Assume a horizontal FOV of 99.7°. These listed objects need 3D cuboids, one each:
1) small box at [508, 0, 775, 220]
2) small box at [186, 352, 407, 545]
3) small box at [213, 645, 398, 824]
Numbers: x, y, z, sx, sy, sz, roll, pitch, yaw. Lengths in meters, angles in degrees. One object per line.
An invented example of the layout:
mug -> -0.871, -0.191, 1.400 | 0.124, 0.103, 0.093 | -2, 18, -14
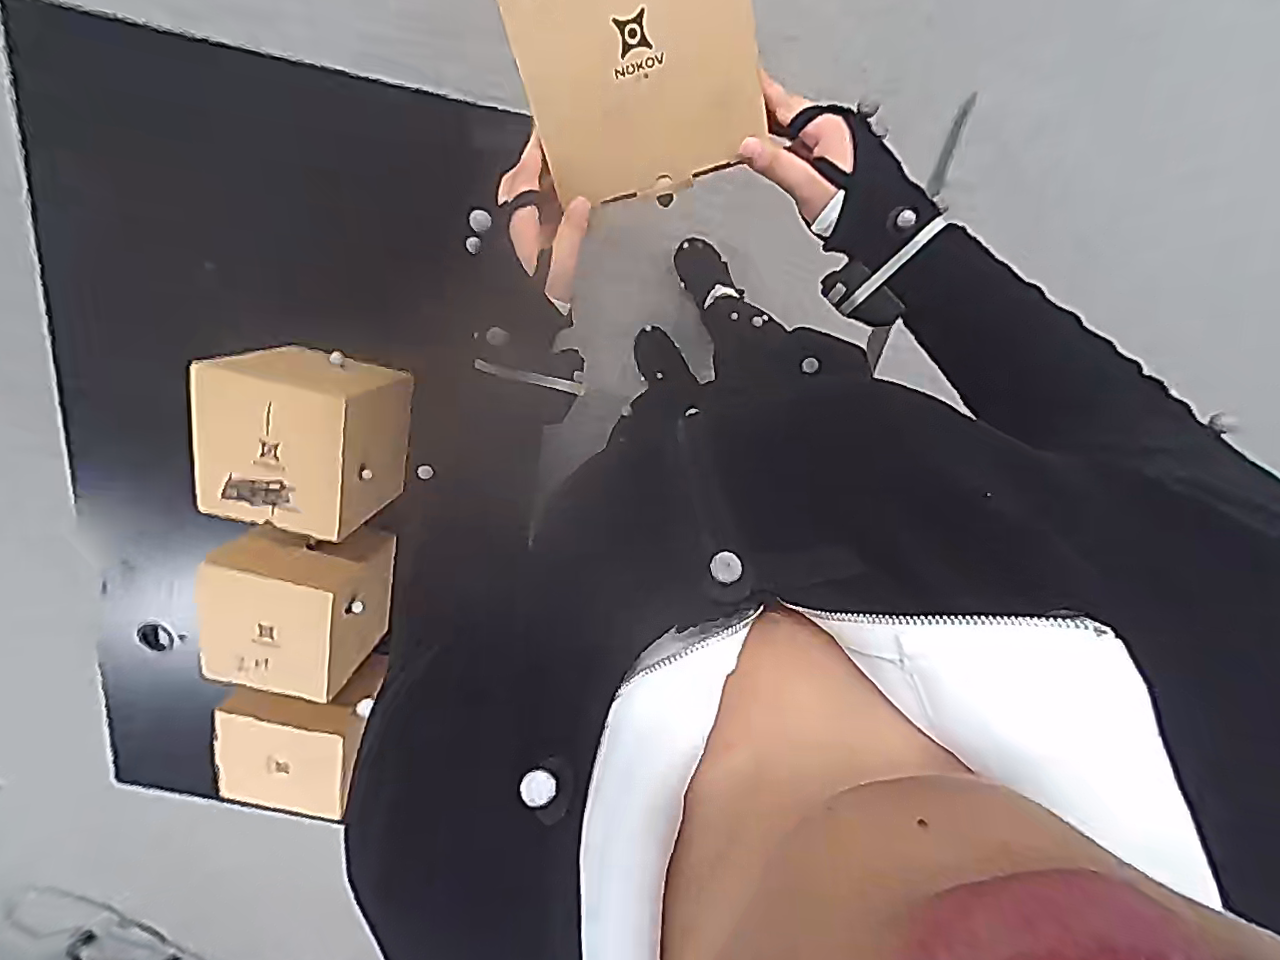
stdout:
small box -> 0.006, -0.333, 0.439 | 0.168, 0.176, 0.179 | -12, 119, 8
small box -> -0.405, -0.048, 0.665 | 0.168, 0.176, 0.179 | 13, 109, -2
small box -> -0.497, 0.376, 0.823 | 0.179, 0.176, 0.168 | 12, 111, -3
